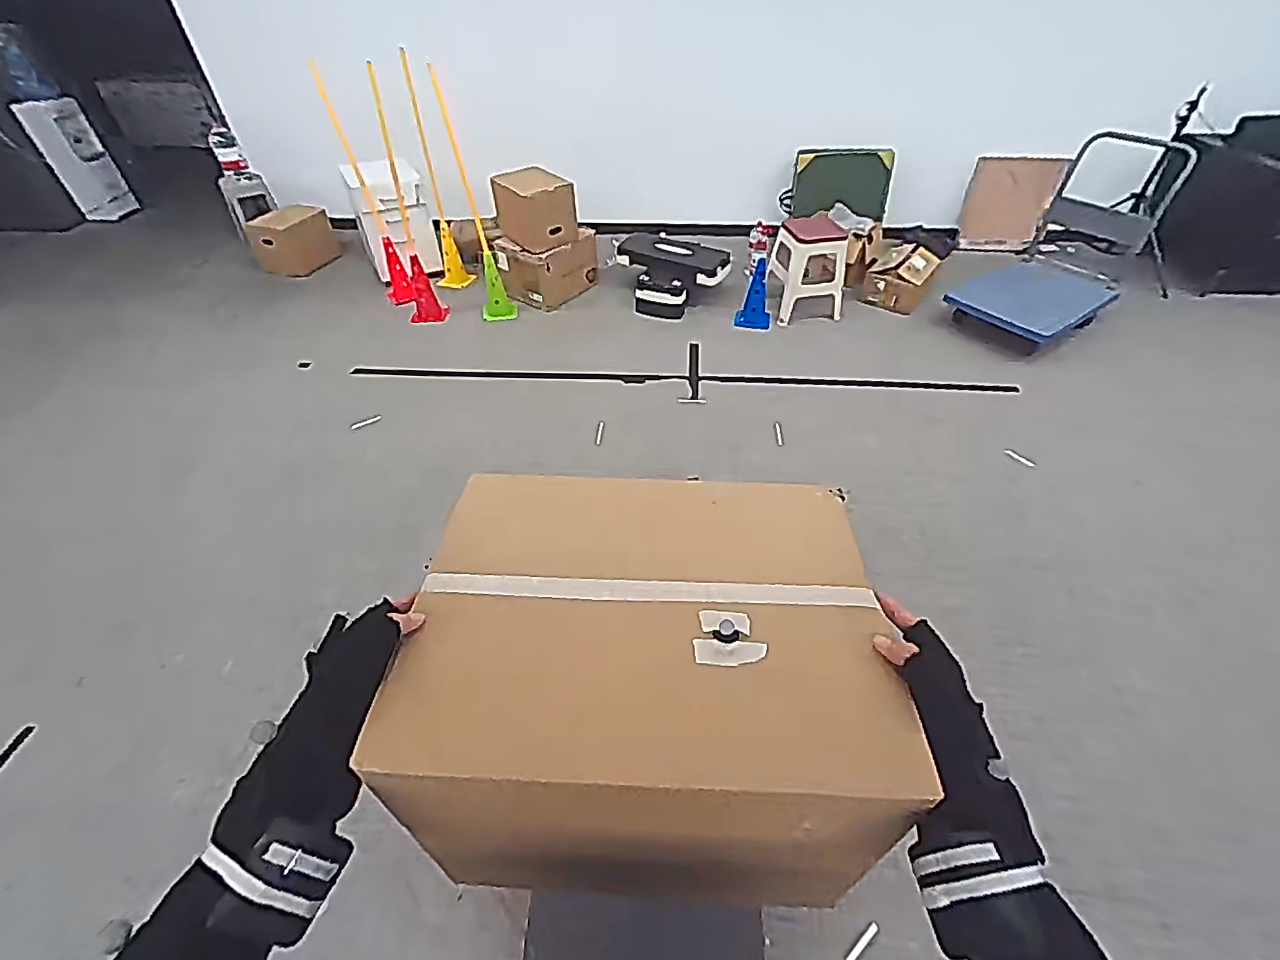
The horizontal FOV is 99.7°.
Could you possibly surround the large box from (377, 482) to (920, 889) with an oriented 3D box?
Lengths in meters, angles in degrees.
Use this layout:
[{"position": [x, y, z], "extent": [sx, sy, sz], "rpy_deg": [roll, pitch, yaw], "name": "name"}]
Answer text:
[{"position": [0.007, 0.219, 0.596], "extent": [0.408, 0.320, 0.320], "rpy_deg": [2, 41, 2], "name": "large box"}]
